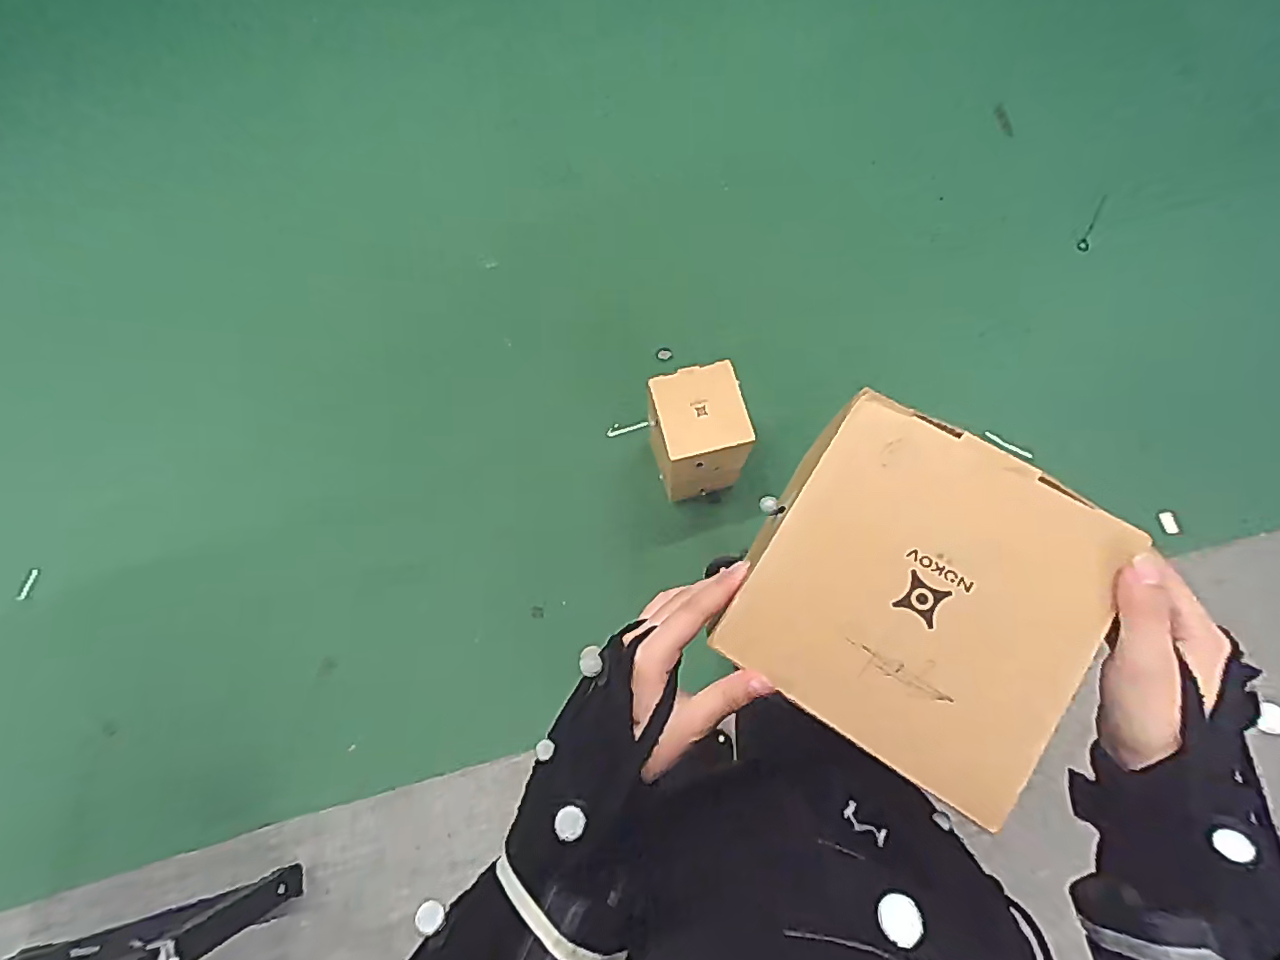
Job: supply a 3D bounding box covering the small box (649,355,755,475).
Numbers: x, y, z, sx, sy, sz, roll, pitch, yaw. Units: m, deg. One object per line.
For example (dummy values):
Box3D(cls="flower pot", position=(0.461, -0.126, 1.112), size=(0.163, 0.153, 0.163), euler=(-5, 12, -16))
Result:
Box3D(cls="small box", position=(0.120, -0.120, 1.089), size=(0.168, 0.176, 0.179), euler=(-14, 73, -1))
